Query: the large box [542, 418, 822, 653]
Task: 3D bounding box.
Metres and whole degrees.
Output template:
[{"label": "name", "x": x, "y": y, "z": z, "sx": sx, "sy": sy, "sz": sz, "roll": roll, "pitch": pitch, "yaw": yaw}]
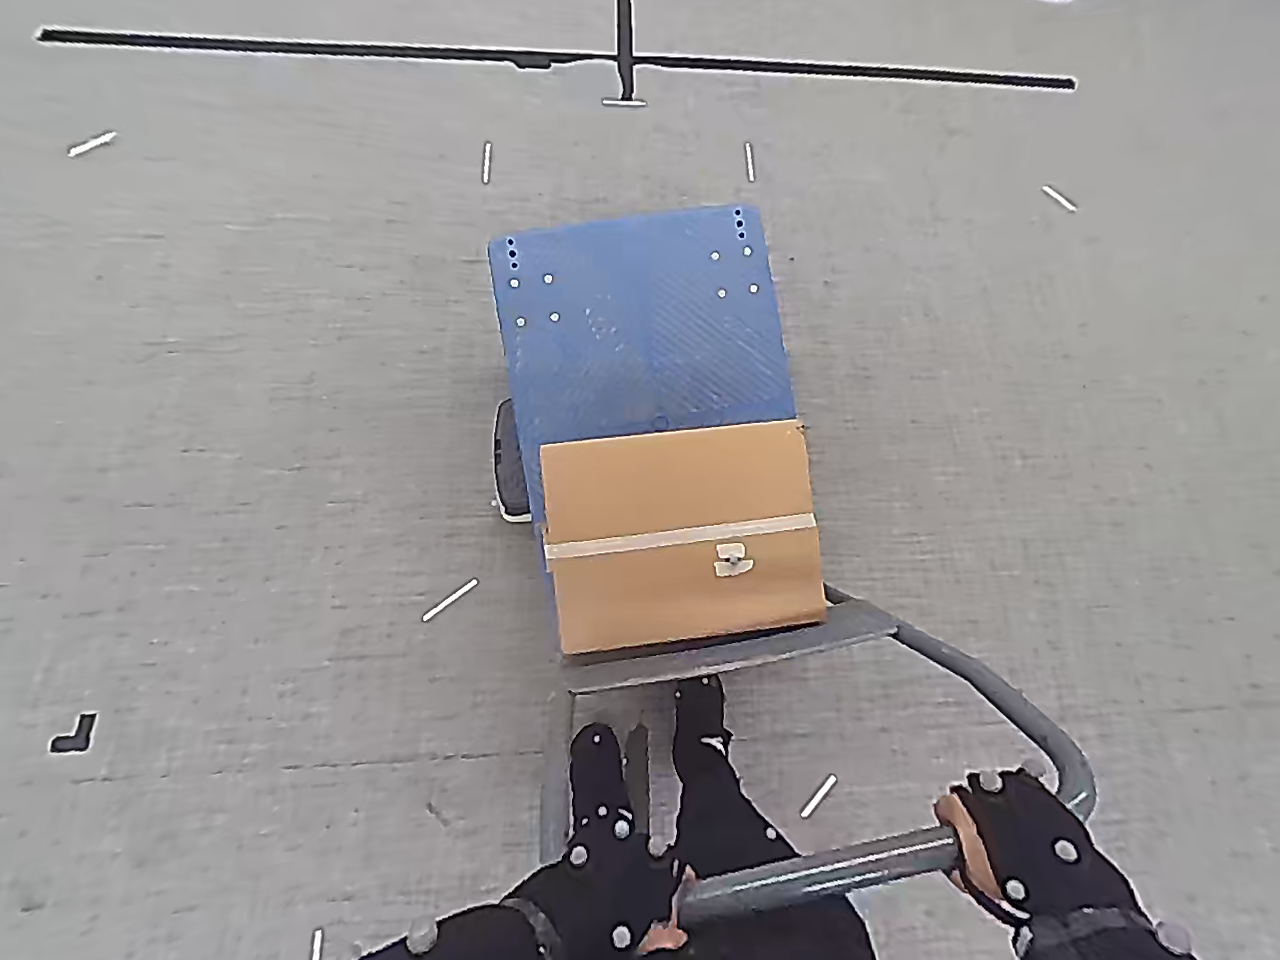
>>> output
[{"label": "large box", "x": 0.053, "y": 0.086, "z": 0.965, "sx": 0.408, "sy": 0.320, "sz": 0.320, "roll": -7, "pitch": 89, "yaw": -6}]
